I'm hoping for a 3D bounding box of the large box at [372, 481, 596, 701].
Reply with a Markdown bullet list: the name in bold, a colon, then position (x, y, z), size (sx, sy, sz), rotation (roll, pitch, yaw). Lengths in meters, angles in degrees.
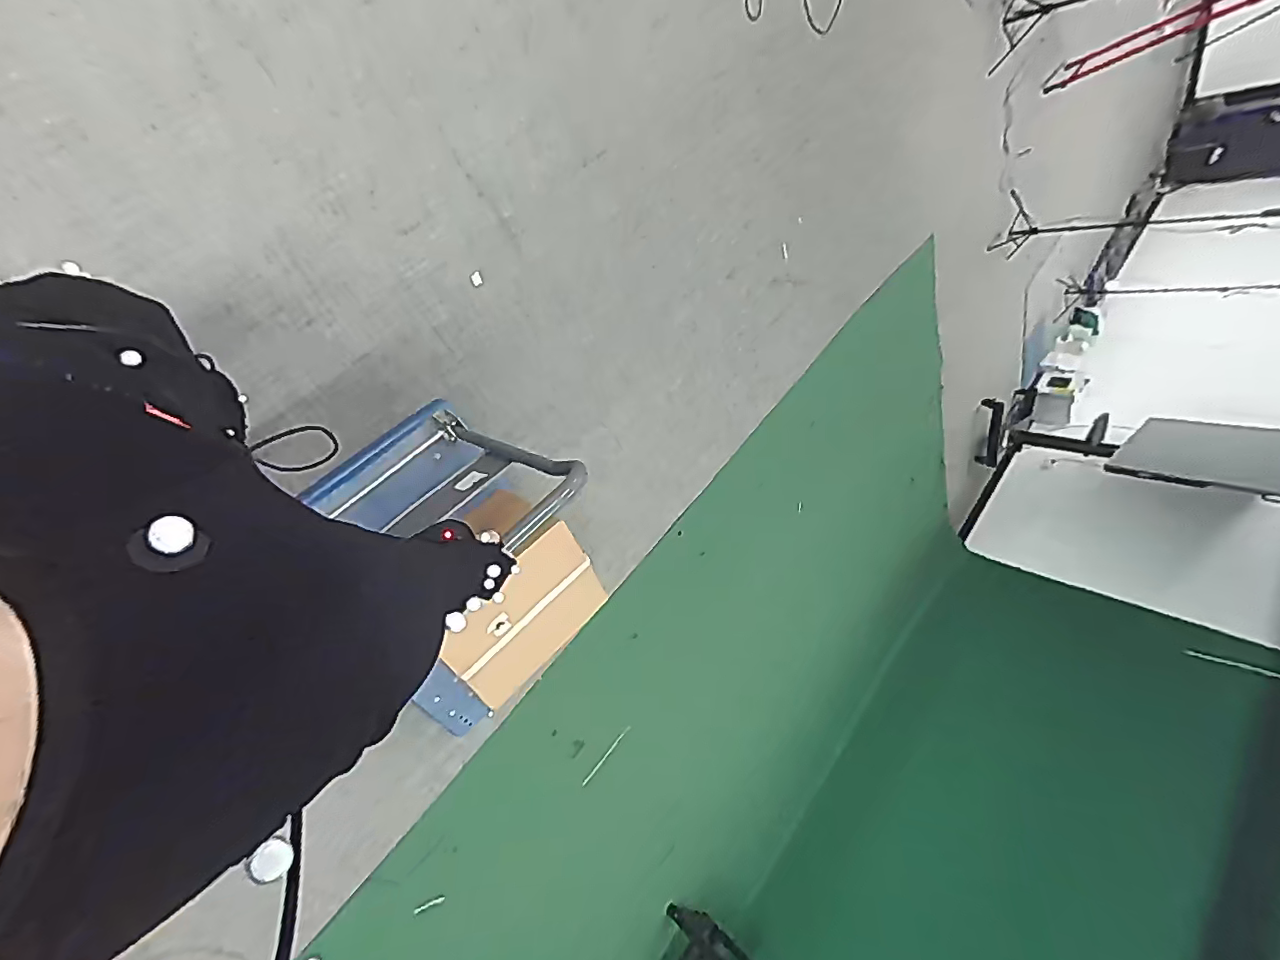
- **large box**: position (-0.397, 0.268, 1.416), size (0.408, 0.320, 0.320), rotation (-42, 128, -24)
